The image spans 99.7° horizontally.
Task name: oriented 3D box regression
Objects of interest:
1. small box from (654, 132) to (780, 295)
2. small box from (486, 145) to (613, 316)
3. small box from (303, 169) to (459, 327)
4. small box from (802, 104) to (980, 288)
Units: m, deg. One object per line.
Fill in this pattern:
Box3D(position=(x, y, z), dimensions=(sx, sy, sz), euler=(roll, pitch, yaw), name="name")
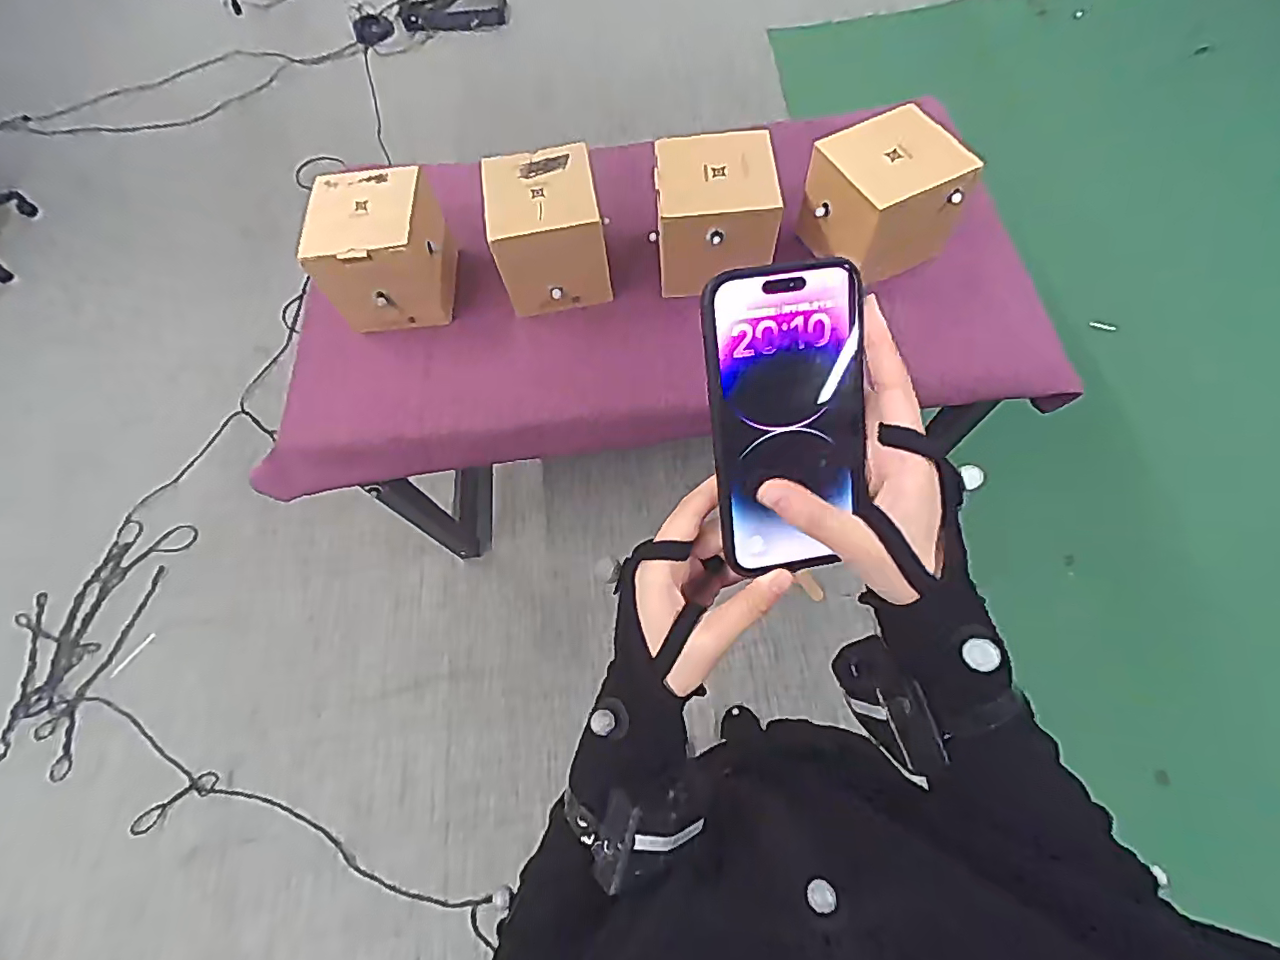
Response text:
Box3D(position=(0.116, -0.416, 0.864), dimensions=(0.179, 0.176, 0.168), euler=(-3, 67, 3), name="small box")
Box3D(position=(-0.143, -0.397, 0.877), dimensions=(0.168, 0.176, 0.179), euler=(-10, 67, 1), name="small box")
Box3D(position=(-0.409, -0.368, 0.887), dimensions=(0.168, 0.176, 0.179), euler=(-5, 67, 2), name="small box")
Box3D(position=(0.374, -0.437, 0.850), dimensions=(0.179, 0.176, 0.168), euler=(-25, 66, -7), name="small box")
